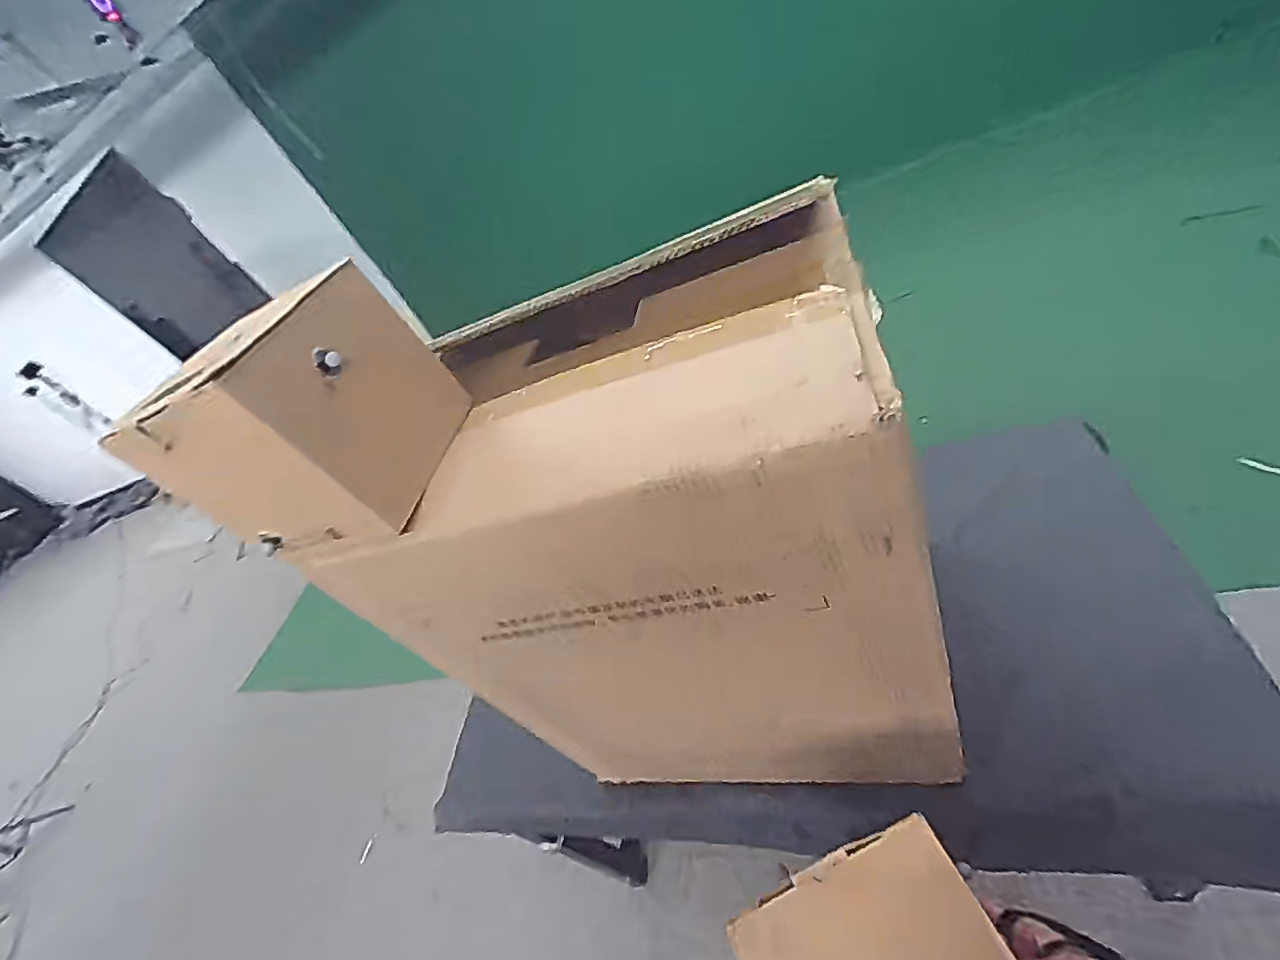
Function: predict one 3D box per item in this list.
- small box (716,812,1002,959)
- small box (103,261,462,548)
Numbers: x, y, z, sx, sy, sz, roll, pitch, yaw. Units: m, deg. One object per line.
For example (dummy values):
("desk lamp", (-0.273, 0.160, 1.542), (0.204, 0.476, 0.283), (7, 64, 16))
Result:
("small box", (0.179, 0.380, 0.401), (0.168, 0.176, 0.179), (-29, 51, 2))
("small box", (-0.292, -0.054, 0.484), (0.168, 0.176, 0.179), (-13, 42, 25))
